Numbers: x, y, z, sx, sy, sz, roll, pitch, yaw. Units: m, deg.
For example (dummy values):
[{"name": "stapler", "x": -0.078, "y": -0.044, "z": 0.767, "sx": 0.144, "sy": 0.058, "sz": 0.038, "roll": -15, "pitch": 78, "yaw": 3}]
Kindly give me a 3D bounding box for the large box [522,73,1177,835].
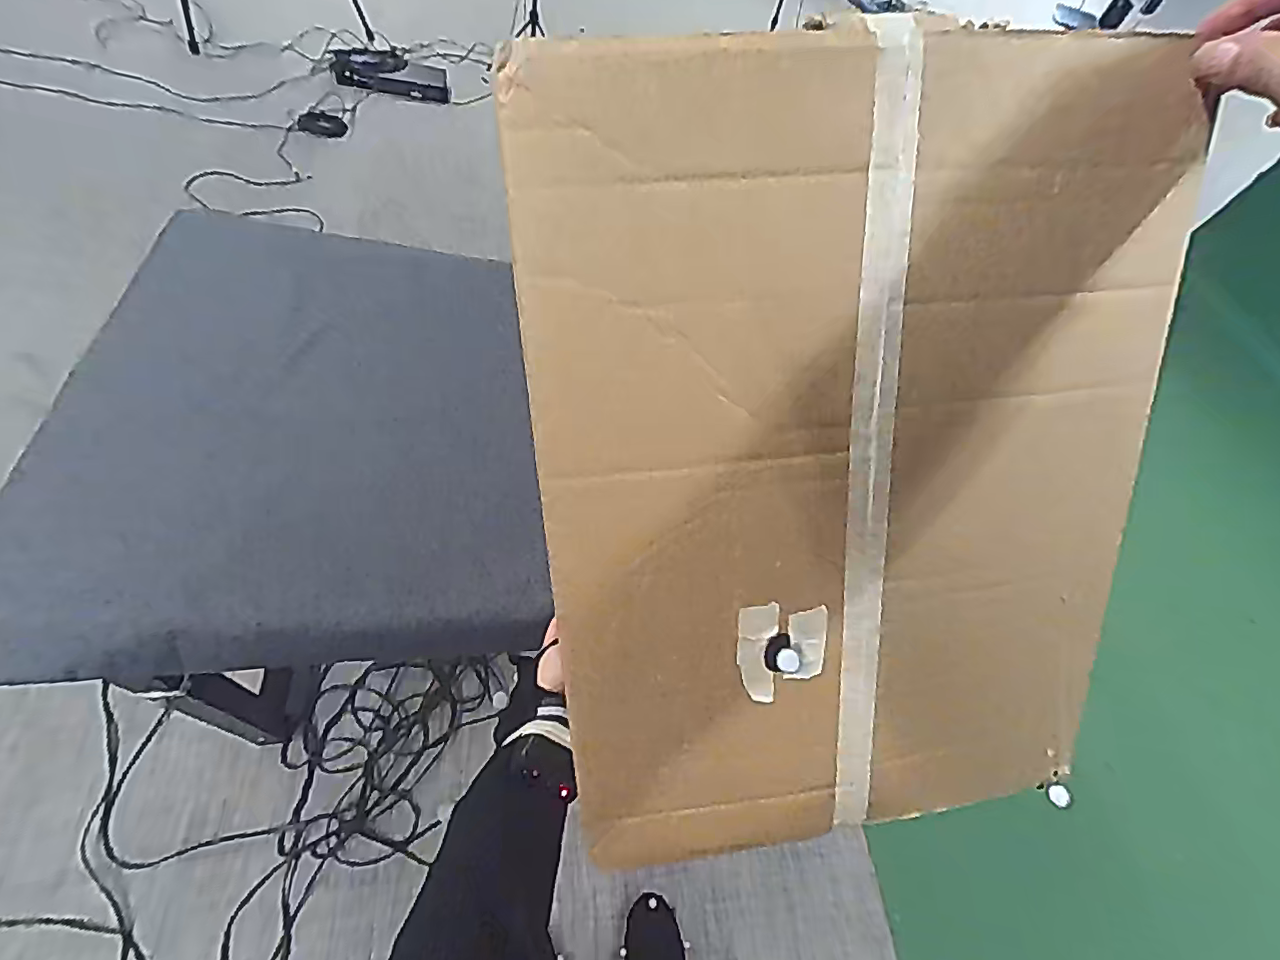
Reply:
[{"name": "large box", "x": 0.094, "y": -0.030, "z": 0.433, "sx": 0.320, "sy": 0.408, "sz": 0.320, "roll": -7, "pitch": 19, "yaw": -7}]
